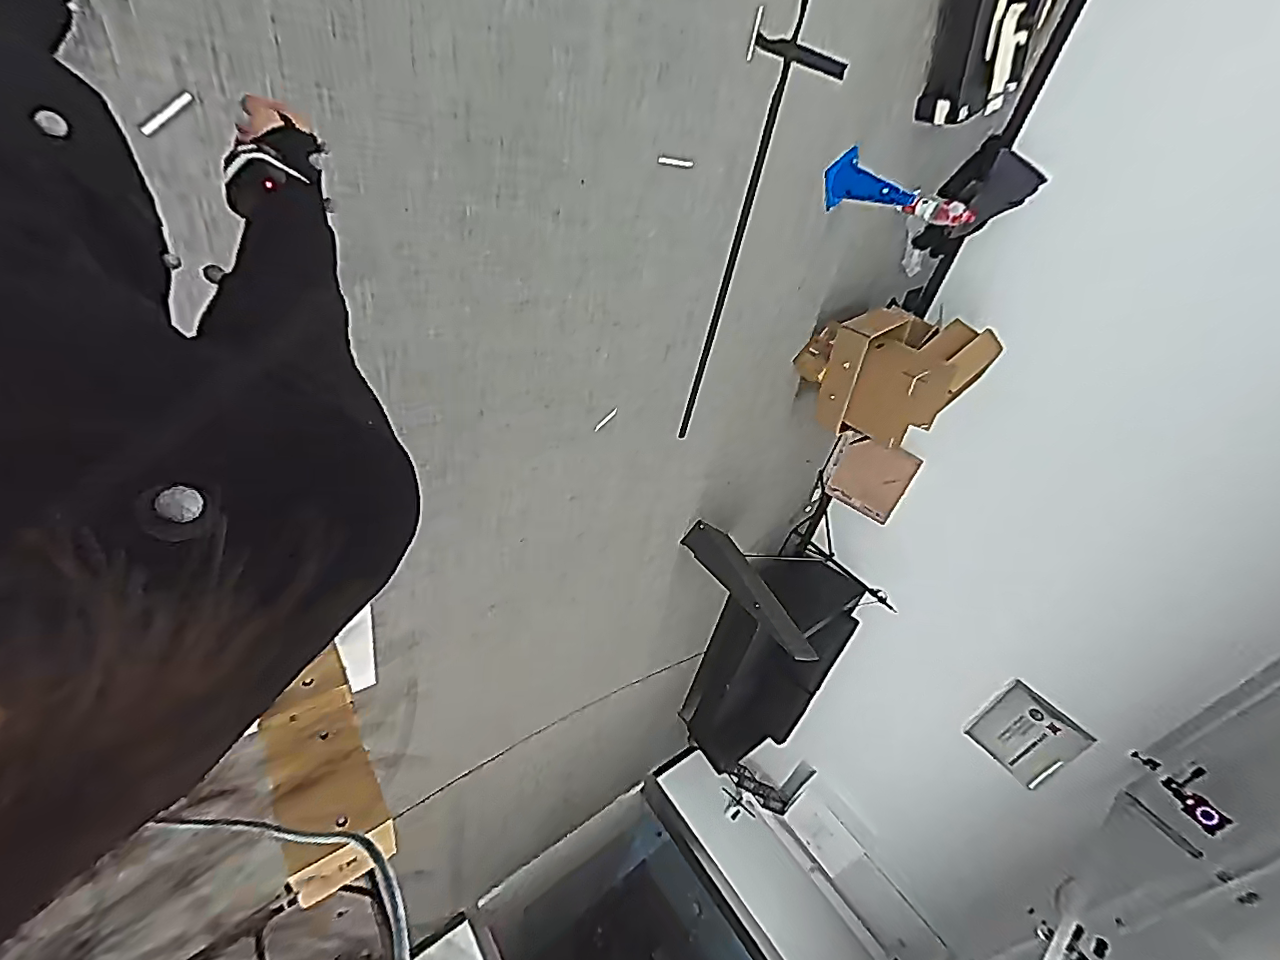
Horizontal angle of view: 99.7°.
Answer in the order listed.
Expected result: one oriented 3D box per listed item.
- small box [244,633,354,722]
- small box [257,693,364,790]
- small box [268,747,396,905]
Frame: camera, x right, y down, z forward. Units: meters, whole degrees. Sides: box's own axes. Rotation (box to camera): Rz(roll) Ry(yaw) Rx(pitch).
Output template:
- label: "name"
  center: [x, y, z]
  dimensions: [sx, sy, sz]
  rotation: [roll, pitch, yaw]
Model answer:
- label: "small box"
  center: [-0.793, 0.490, 1.264]
  dimensions: [0.179, 0.176, 0.168]
  rotation: [-16, 135, -36]
- label: "small box"
  center: [-0.707, 0.594, 1.173]
  dimensions: [0.168, 0.176, 0.179]
  rotation: [-16, 136, -37]
- label: "small box"
  center: [-0.605, 0.672, 1.069]
  dimensions: [0.179, 0.176, 0.168]
  rotation: [-16, 135, -37]
